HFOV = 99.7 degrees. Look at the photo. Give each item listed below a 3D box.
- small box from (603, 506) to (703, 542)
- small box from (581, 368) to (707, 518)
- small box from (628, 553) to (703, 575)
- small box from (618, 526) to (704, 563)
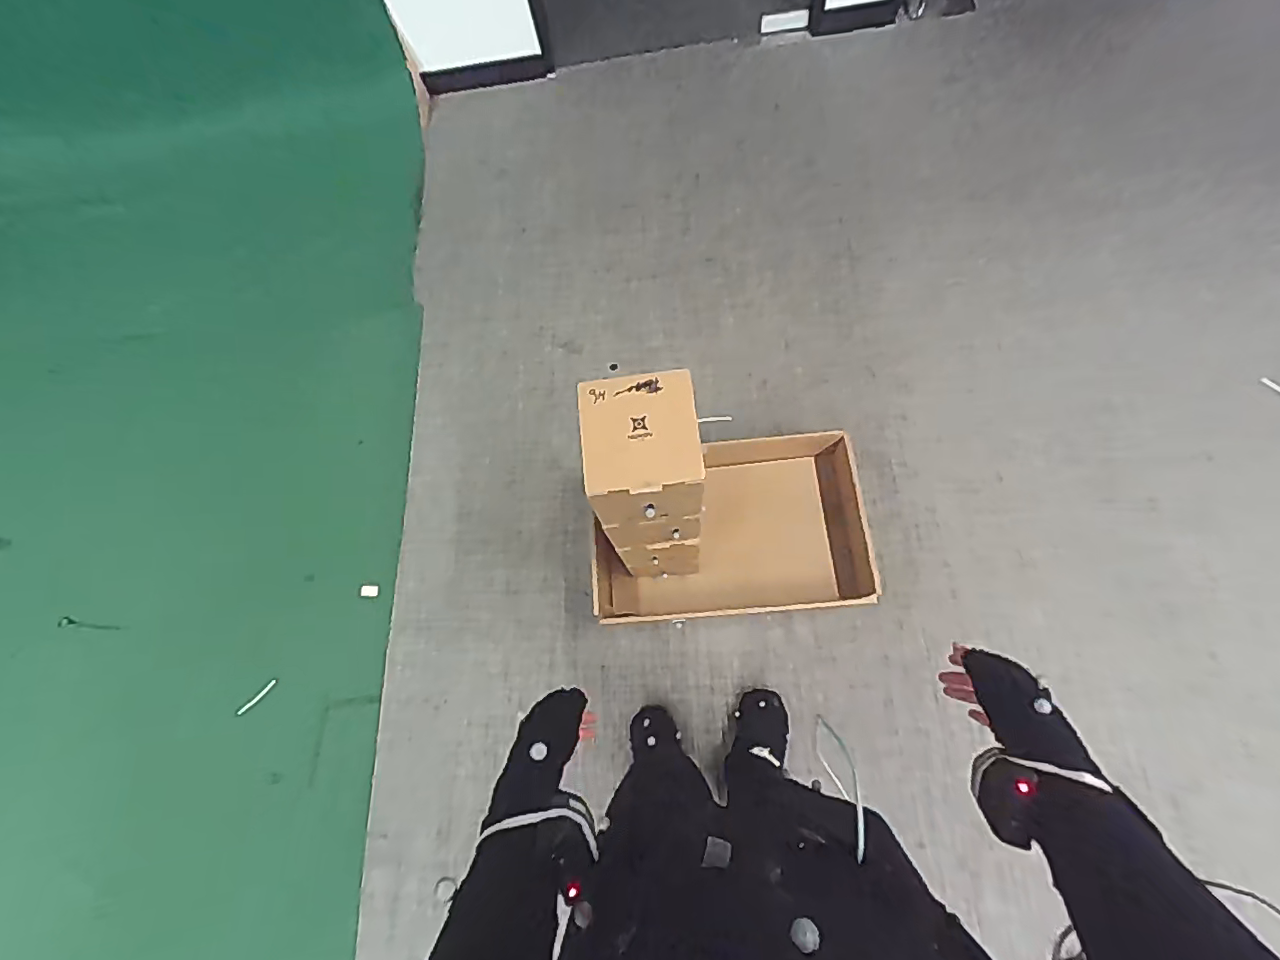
[{"bbox_3d":[0.023,0.010,0.972,0.168,0.176,0.179,-6,71,3],"label":"small box"},{"bbox_3d":[0.009,-0.045,0.818,0.168,0.176,0.179,-6,72,2],"label":"small box"},{"bbox_3d":[0.058,0.121,1.277,0.168,0.176,0.179,-4,71,5],"label":"small box"},{"bbox_3d":[0.042,0.068,1.124,0.168,0.176,0.179,-5,71,4],"label":"small box"}]
